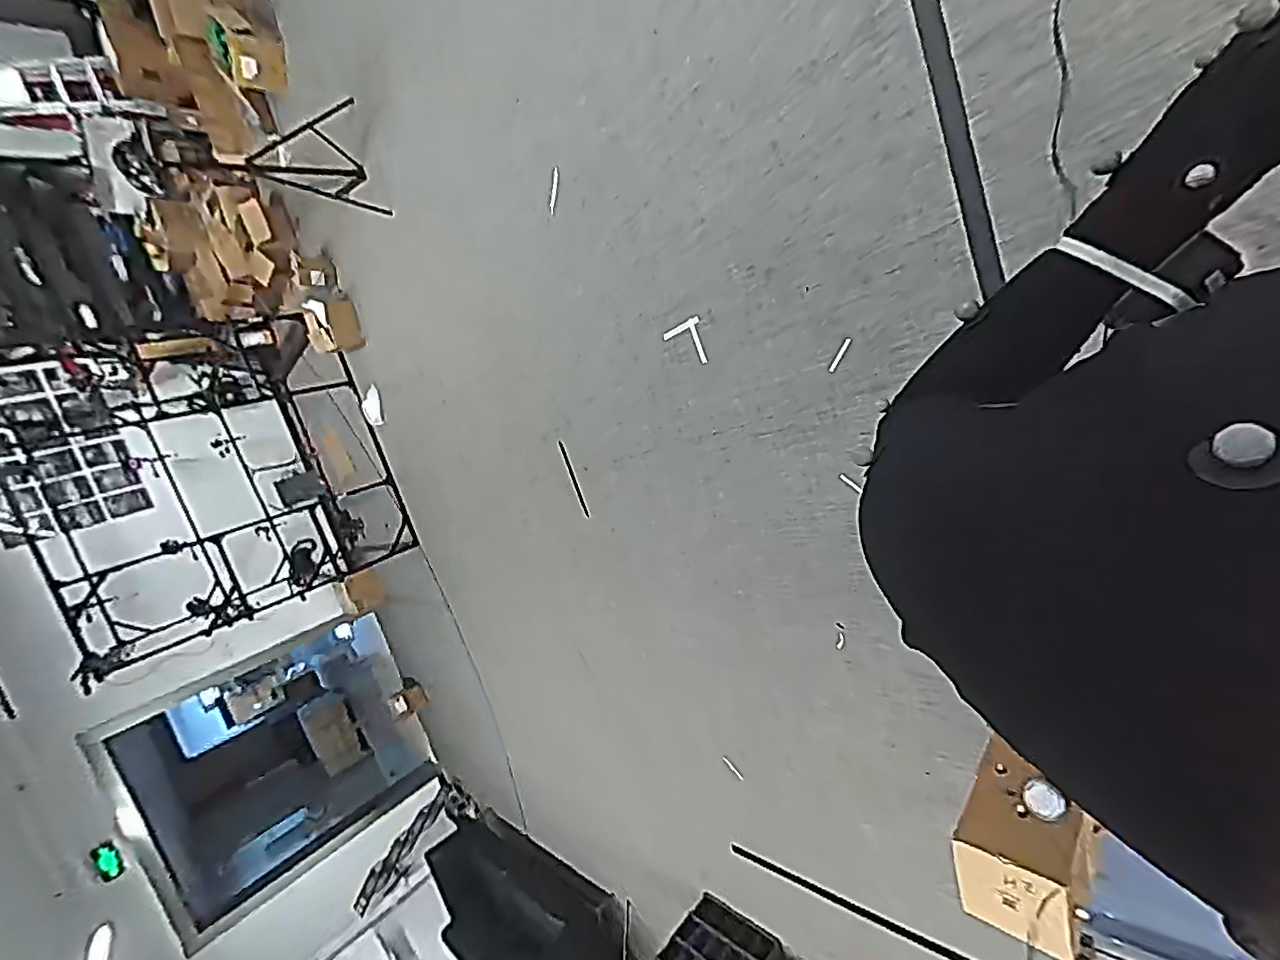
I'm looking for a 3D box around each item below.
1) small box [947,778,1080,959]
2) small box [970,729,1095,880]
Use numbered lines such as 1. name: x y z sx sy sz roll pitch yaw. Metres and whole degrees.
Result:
1. small box: 0.688 0.699 0.991 0.168 0.176 0.179 0 109 47
2. small box: 0.801 0.642 1.097 0.179 0.176 0.168 -2 108 48
